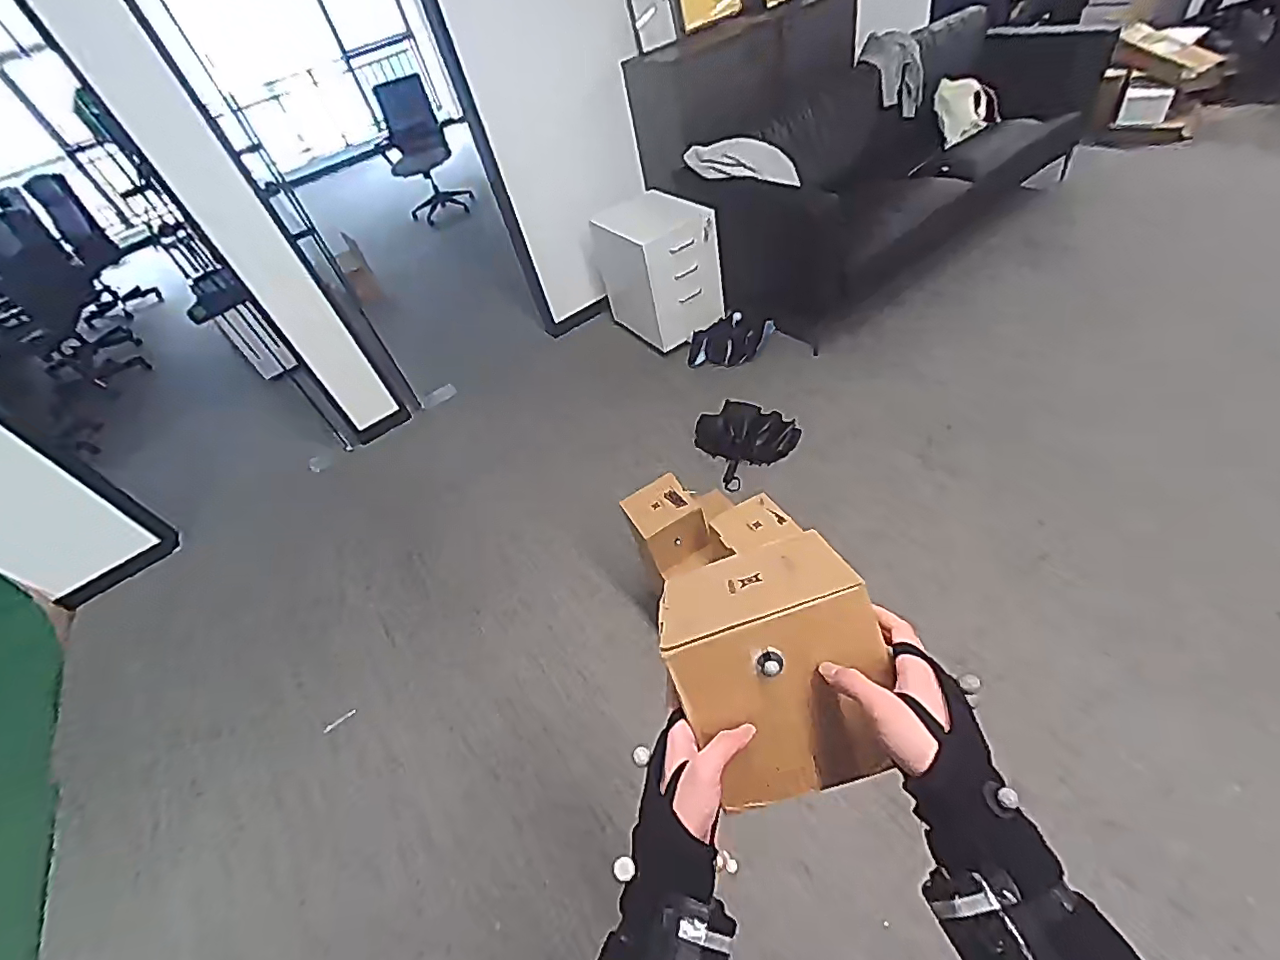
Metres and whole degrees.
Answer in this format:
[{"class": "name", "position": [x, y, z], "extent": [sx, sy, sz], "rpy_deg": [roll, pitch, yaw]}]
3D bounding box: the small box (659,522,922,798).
[{"class": "small box", "position": [0.129, 0.161, 0.511], "extent": [0.179, 0.176, 0.168], "rpy_deg": [-19, 8, 6]}]

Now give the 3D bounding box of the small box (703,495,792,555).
[{"class": "small box", "position": [0.287, 0.178, 1.404], "extent": [0.179, 0.176, 0.168], "rpy_deg": [-27, 45, -13]}]

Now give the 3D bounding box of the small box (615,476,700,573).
[{"class": "small box", "position": [0.057, 0.126, 1.520], "extent": [0.179, 0.176, 0.168], "rpy_deg": [-30, 46, -10]}]
